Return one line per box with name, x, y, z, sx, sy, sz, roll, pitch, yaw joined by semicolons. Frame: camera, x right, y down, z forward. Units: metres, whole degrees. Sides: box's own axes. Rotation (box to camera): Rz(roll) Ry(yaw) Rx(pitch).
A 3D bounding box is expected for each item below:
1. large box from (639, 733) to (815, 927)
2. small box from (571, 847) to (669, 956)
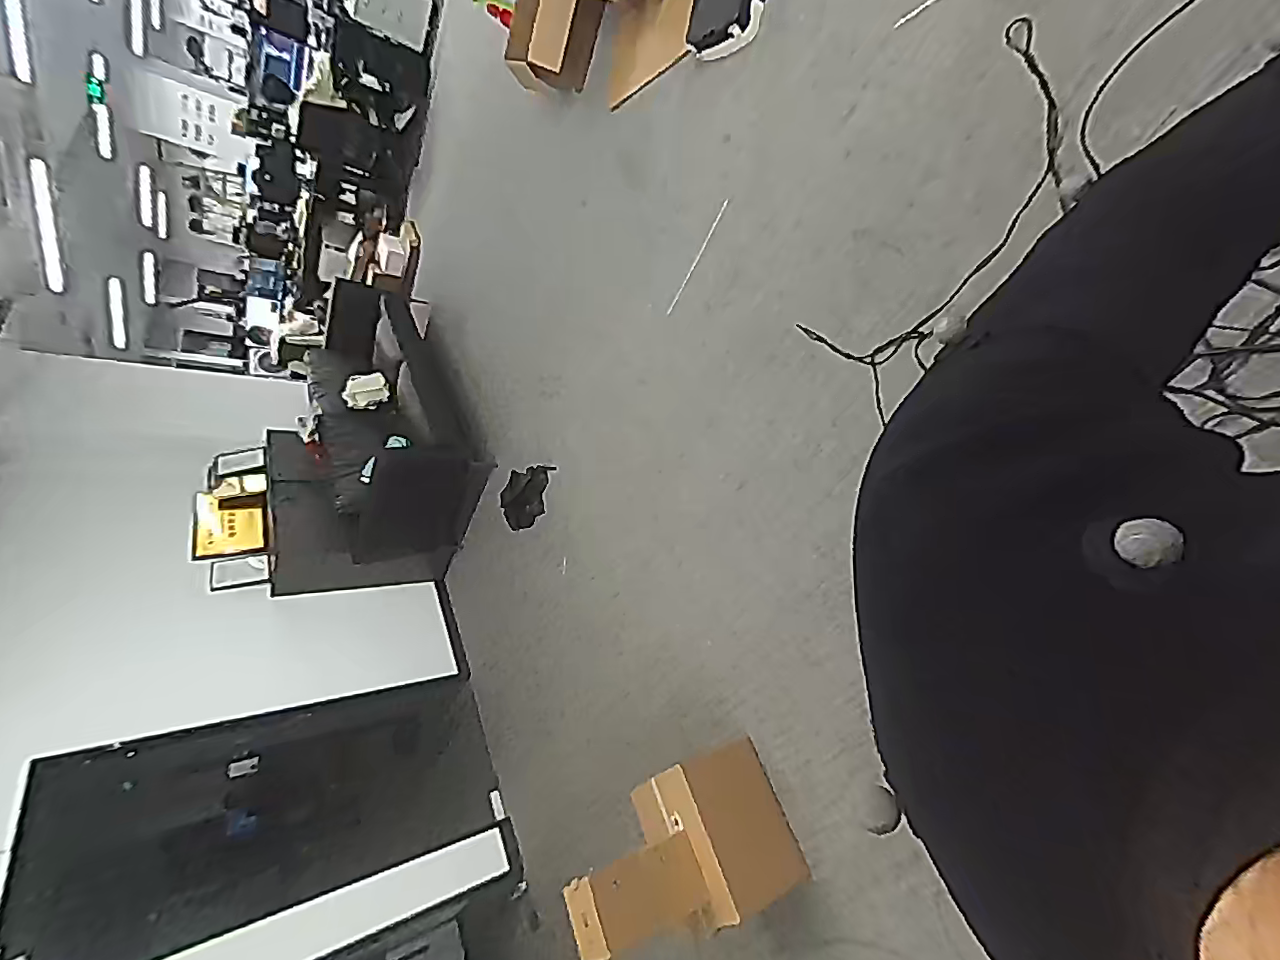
large box;0.259;1.075;1.691;0.320;0.320;0.408;-52;49;37
small box;-0.055;1.105;1.430;0.168;0.176;0.179;-56;48;37
